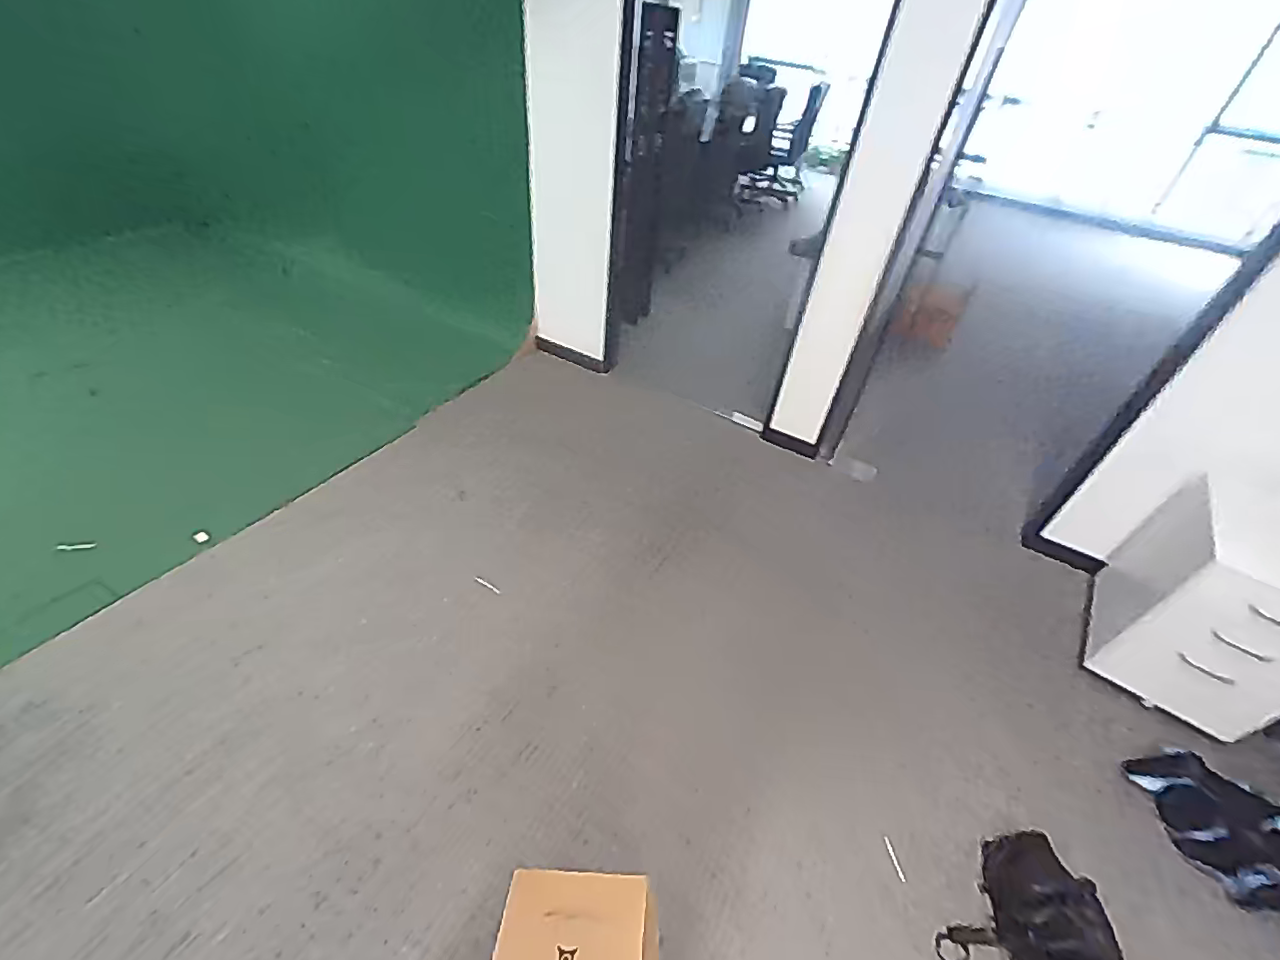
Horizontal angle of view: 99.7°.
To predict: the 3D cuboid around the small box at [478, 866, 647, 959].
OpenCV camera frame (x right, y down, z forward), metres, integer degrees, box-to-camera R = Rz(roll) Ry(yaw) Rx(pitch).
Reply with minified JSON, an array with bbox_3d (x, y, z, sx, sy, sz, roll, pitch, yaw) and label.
[{"bbox_3d":[-0.083,0.572,0.605,0.168,0.176,0.179,-2,31,6],"label":"small box"}]
